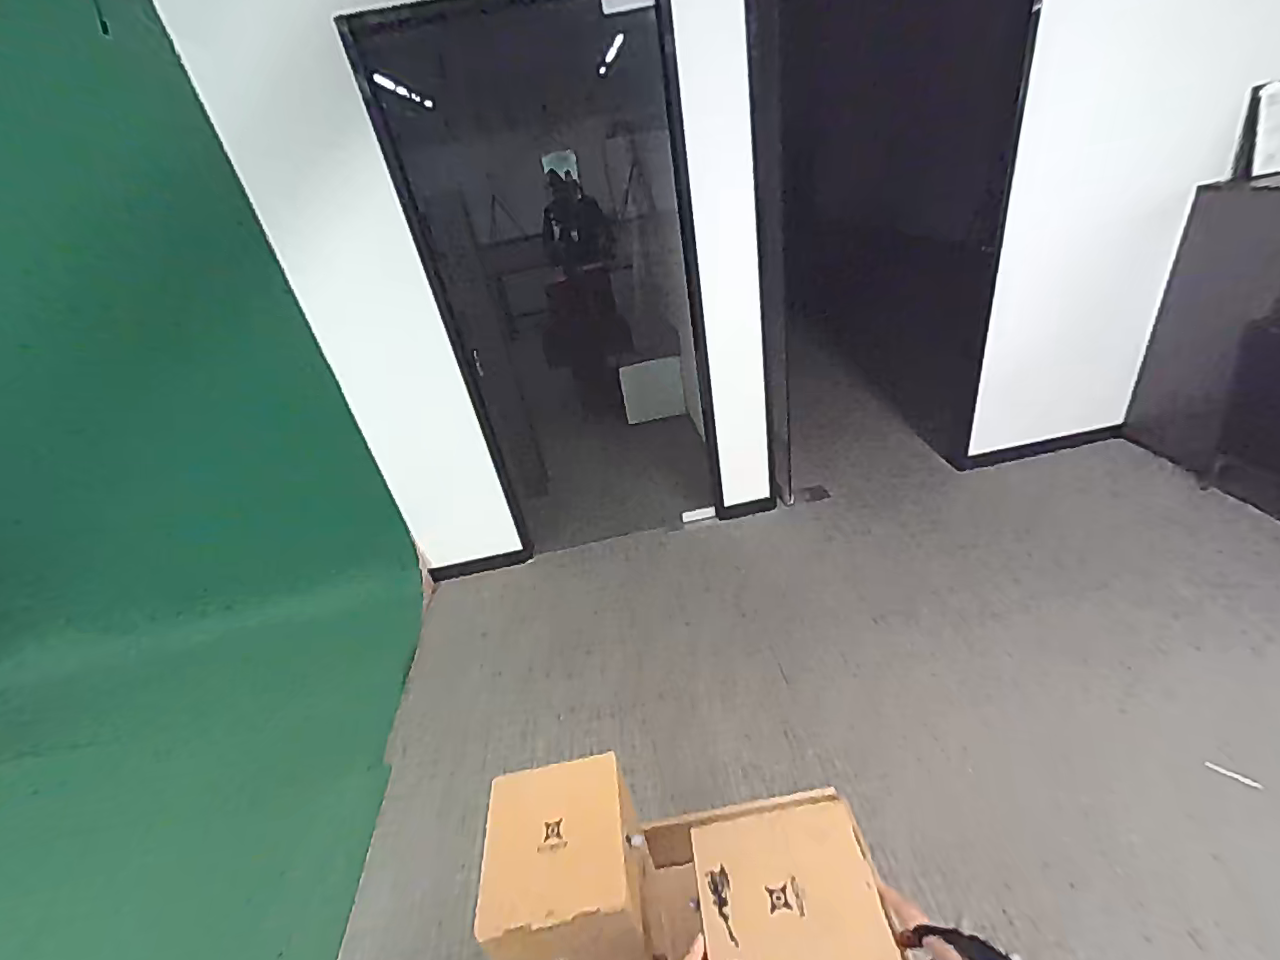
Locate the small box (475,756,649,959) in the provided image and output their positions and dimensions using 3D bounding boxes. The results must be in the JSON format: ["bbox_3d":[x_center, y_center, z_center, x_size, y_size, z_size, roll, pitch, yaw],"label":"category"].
[{"bbox_3d":[-0.088,0.486,0.671,0.168,0.176,0.179,-12,30,-1],"label":"small box"}]

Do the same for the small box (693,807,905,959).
[{"bbox_3d":[0.161,0.481,0.563,0.179,0.176,0.168,-12,26,3],"label":"small box"}]
